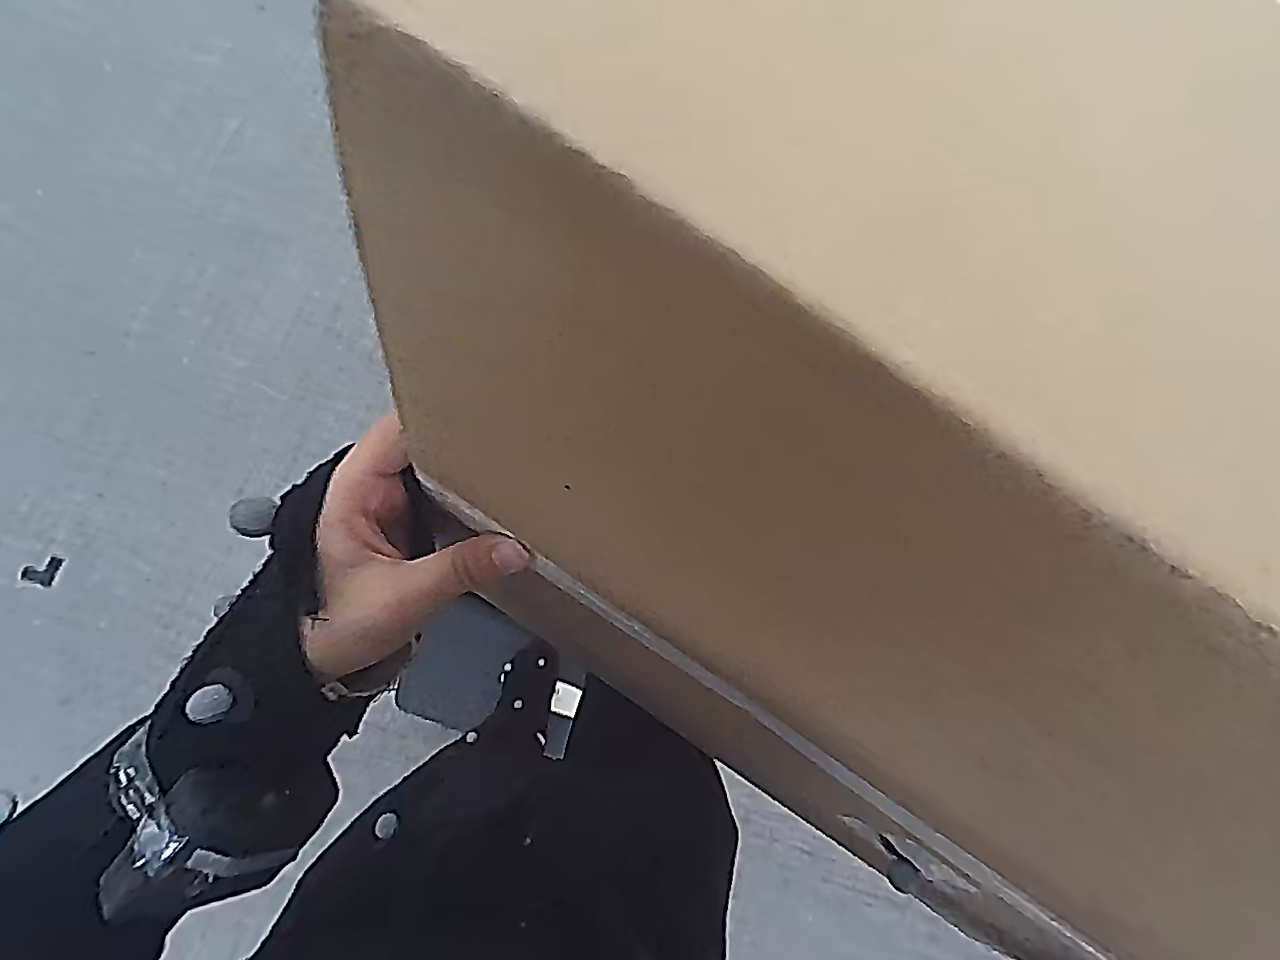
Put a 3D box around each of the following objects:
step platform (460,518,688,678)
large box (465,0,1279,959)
[{"bbox_3d":[-0.040,0.194,1.200,0.684,0.204,0.286,27,81,-2],"label":"step platform"},{"bbox_3d":[0.175,-0.028,0.267,0.408,0.320,0.320,34,63,0],"label":"large box"}]
